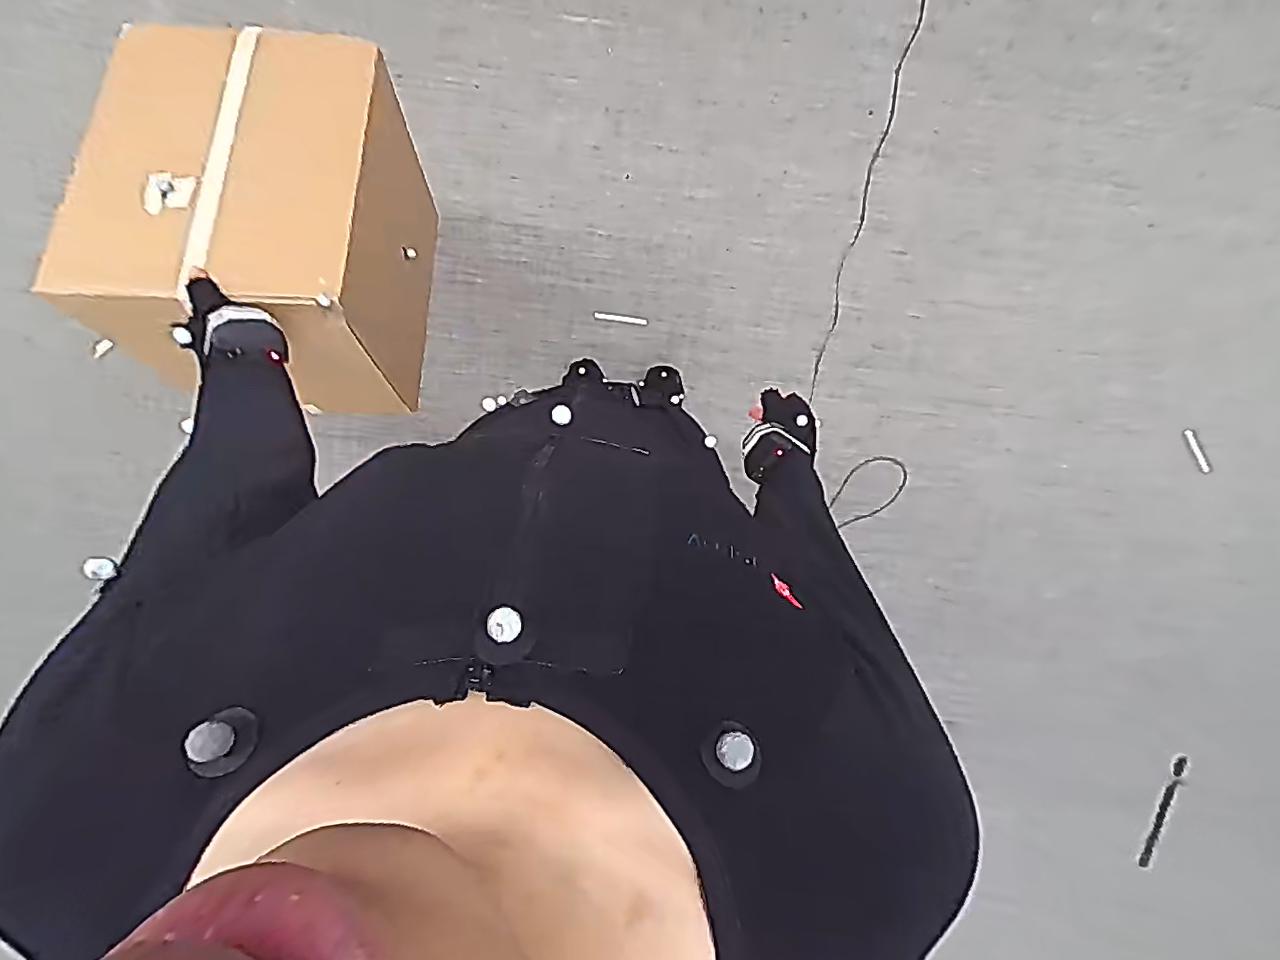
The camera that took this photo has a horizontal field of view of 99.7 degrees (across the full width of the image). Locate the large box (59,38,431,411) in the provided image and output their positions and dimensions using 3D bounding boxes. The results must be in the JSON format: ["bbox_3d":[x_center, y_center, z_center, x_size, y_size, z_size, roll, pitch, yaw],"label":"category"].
[{"bbox_3d":[-0.516,-0.347,0.807,0.320,0.320,0.408,-1,74,-5],"label":"large box"}]
